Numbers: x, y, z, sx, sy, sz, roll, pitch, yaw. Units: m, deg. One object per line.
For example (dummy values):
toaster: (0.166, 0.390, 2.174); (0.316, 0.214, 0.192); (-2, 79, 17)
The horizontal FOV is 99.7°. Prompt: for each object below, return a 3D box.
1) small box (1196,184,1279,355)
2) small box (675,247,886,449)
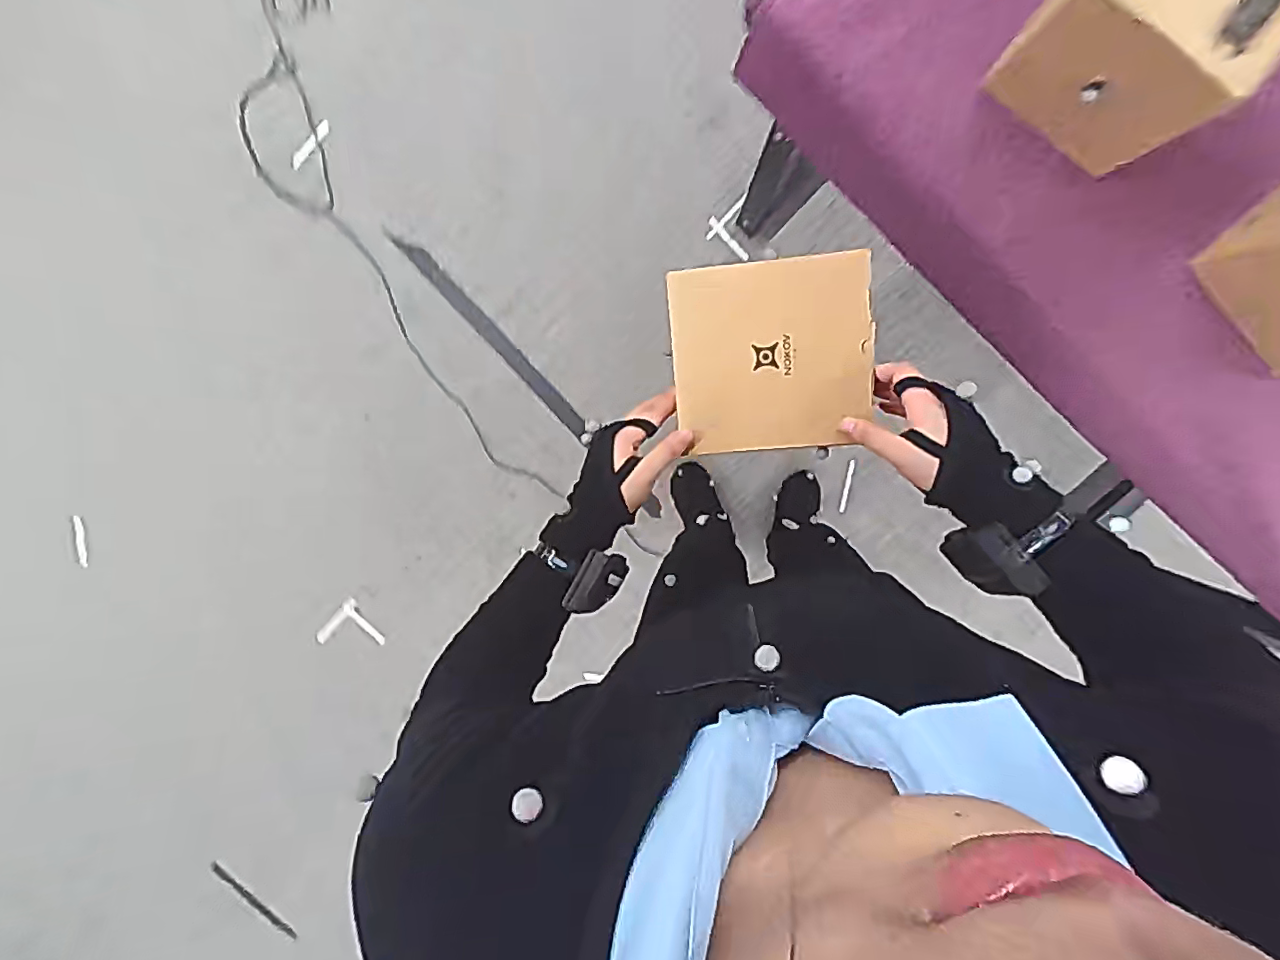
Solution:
small box: (0.754, -0.237, 0.548); (0.168, 0.176, 0.179); (-42, 93, 8)
small box: (0.131, -0.121, 0.544); (0.179, 0.176, 0.168); (-2, 99, 7)
